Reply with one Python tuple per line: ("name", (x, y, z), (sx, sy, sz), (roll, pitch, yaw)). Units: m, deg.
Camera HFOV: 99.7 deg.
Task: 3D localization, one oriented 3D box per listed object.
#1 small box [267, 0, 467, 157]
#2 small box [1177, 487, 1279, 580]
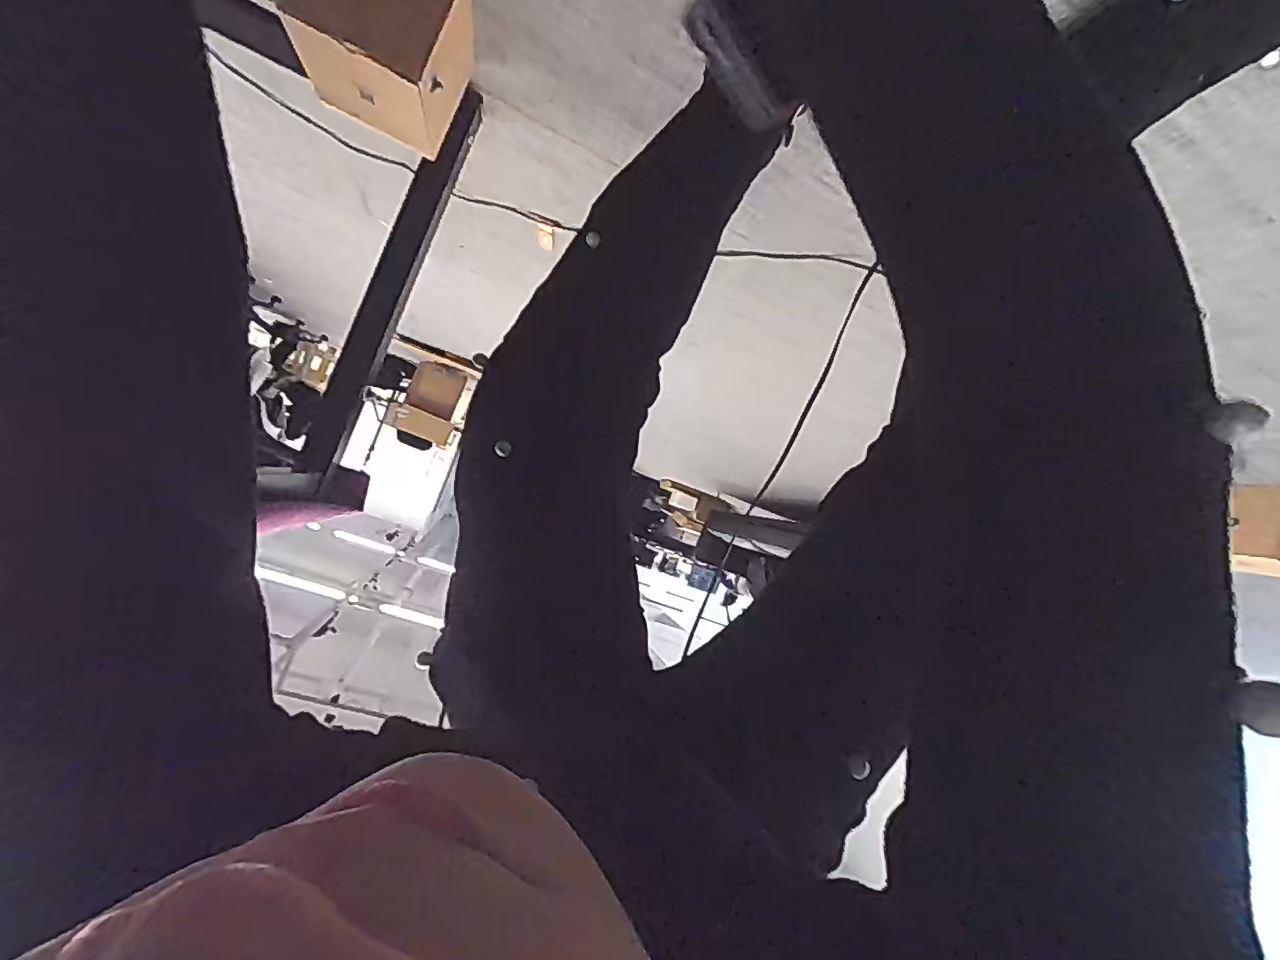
("small box", (-0.338, -0.583, 0.711), (0.168, 0.176, 0.179), (22, 176, -14))
("small box", (1.412, 0.119, 1.241), (0.168, 0.176, 0.179), (21, 175, -15))
